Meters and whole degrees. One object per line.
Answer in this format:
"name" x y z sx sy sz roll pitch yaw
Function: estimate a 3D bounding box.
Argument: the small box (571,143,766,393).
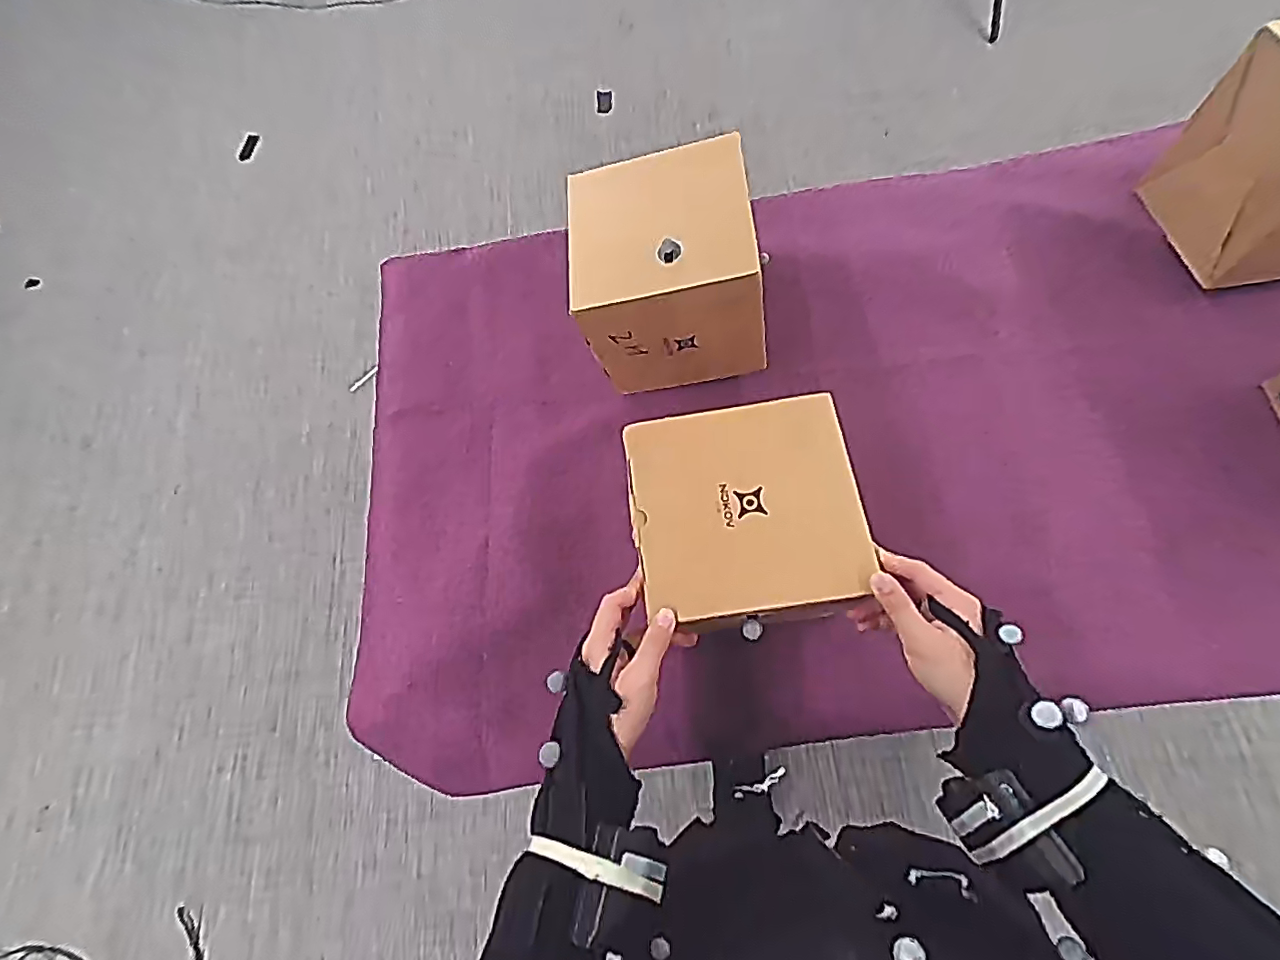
"small box" 0.033 -0.216 0.573 0.179 0.168 0.176 -7 69 12

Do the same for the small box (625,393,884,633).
"small box" 0.088 0.043 0.492 0.179 0.176 0.168 -9 70 3
